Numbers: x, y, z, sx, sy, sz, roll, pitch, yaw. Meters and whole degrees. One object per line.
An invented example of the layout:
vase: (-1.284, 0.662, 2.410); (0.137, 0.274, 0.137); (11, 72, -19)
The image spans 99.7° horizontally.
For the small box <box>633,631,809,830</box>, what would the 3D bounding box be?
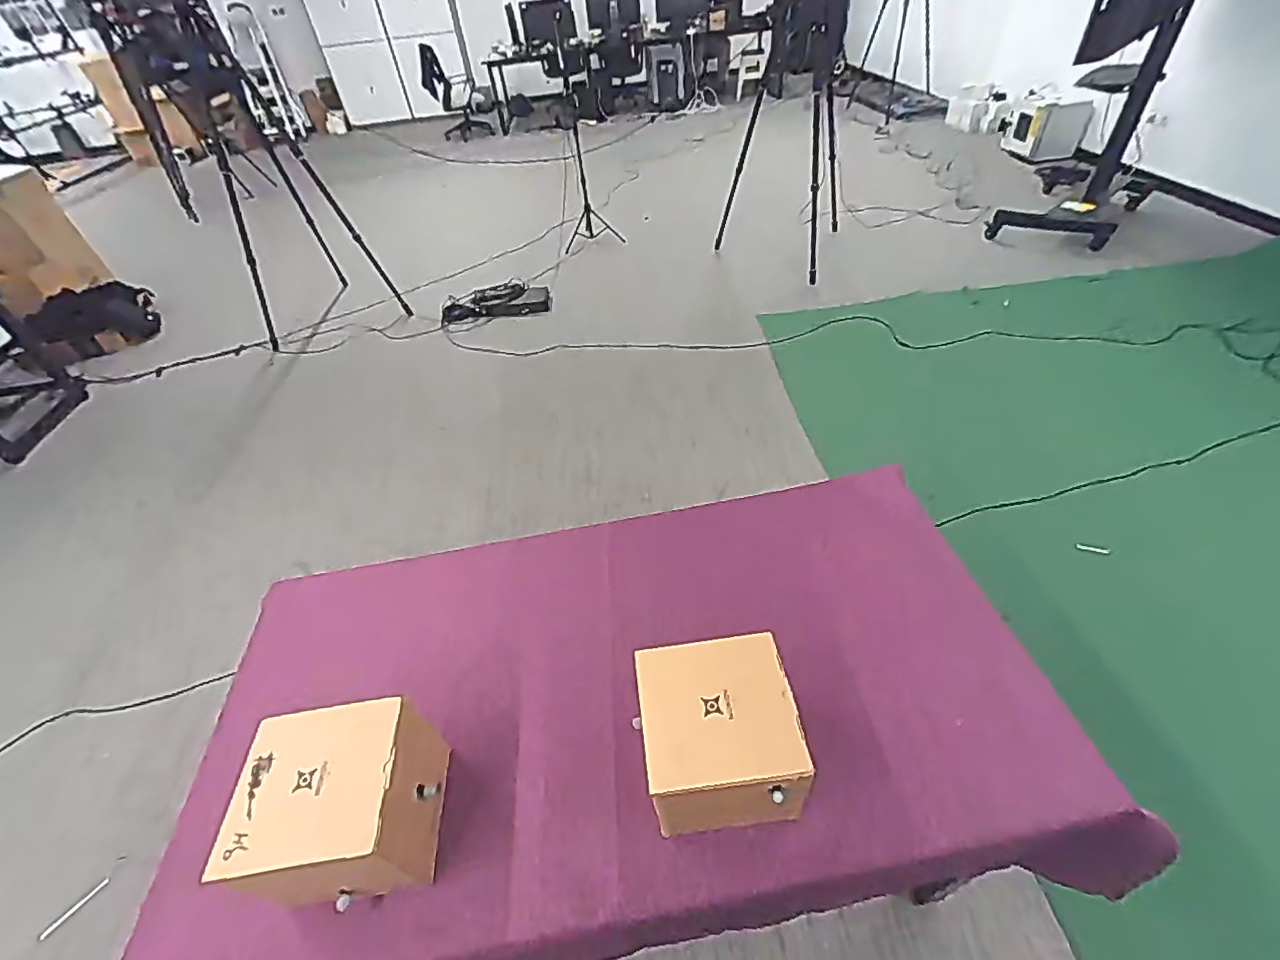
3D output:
small box: (0.093, 0.313, 0.673); (0.179, 0.176, 0.168); (-8, 44, 0)

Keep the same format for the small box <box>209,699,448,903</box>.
small box: (-0.352, 0.391, 0.658); (0.179, 0.176, 0.168); (-9, 44, -1)
